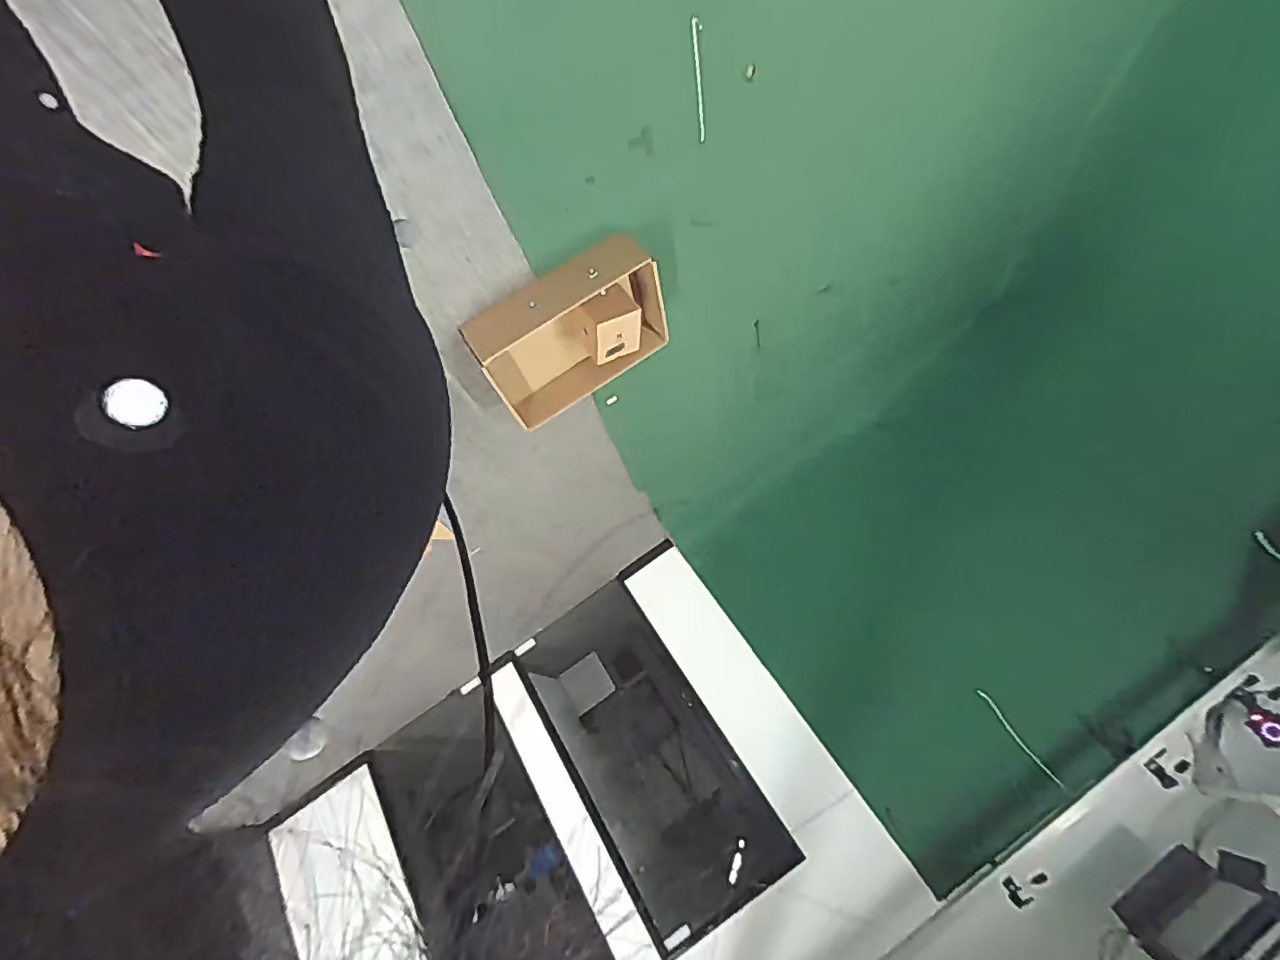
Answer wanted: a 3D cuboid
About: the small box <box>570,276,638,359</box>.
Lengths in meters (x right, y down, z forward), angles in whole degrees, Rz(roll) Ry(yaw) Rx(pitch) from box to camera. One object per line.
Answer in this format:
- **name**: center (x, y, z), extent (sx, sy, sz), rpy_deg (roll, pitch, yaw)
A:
- **small box**: center (-0.122, -0.538, 1.788), extent (0.168, 0.176, 0.179), rpy_deg (-26, 153, -19)
